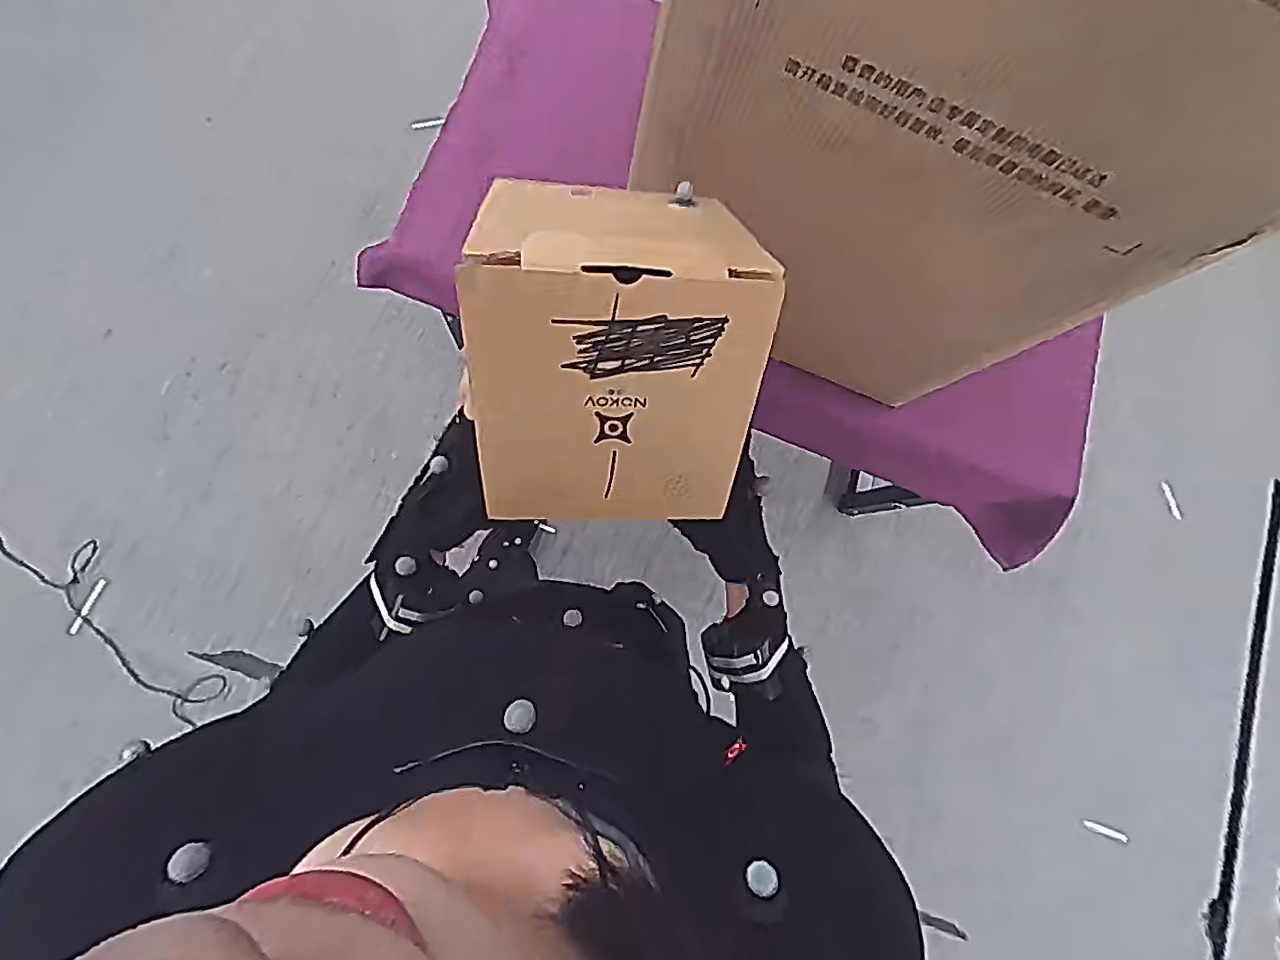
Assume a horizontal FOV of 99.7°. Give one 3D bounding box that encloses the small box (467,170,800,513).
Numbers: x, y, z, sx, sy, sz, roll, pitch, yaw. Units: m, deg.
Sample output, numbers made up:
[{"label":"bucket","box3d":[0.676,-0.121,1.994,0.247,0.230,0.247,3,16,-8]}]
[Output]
[{"label":"small box","box3d":[-0.016,-0.096,0.368,0.168,0.179,0.176,1,40,-7]}]
